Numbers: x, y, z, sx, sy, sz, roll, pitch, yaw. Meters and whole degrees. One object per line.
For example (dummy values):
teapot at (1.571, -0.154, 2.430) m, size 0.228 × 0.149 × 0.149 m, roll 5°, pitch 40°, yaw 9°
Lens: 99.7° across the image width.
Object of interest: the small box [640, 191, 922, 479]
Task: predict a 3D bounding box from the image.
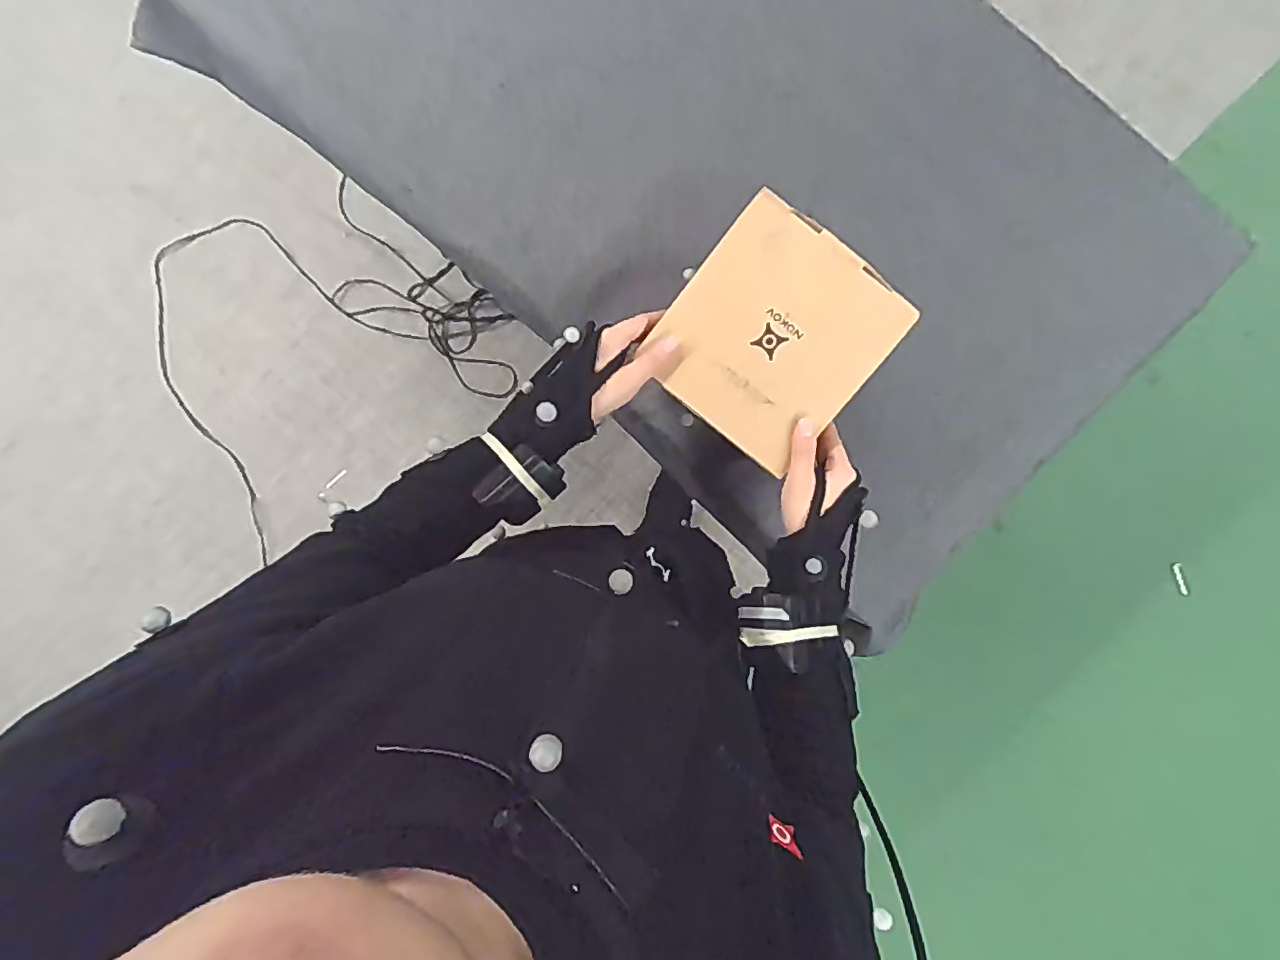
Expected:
small box at (0.119, -0.126, 0.522) m, size 0.168 × 0.176 × 0.179 m, roll 38°, pitch 100°, yaw 0°
